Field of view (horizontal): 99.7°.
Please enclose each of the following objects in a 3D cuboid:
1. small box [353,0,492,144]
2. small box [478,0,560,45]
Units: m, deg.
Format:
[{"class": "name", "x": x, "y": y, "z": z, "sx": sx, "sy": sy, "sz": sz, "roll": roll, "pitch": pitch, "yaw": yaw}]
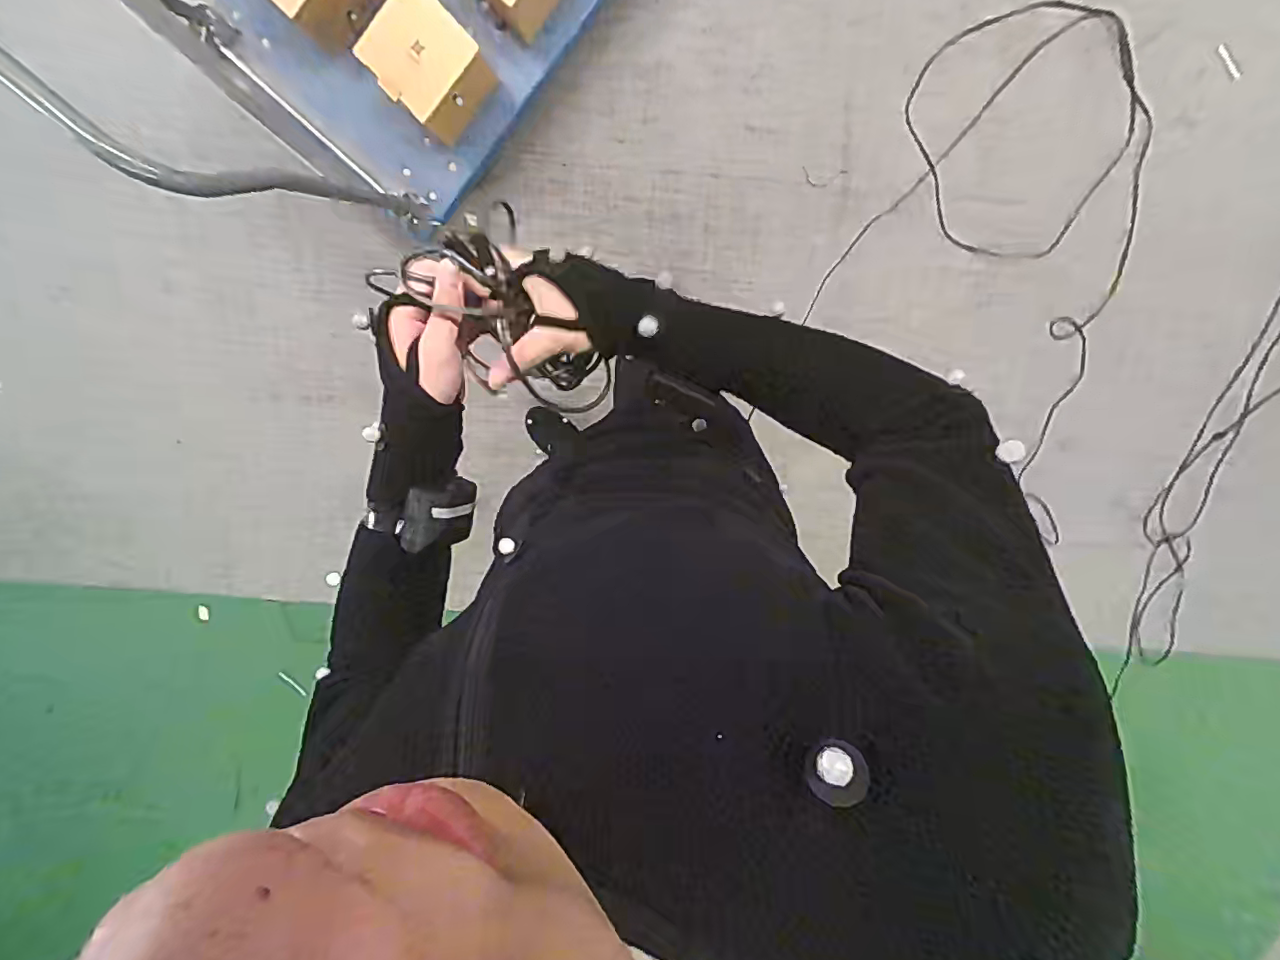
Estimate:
[{"class": "small box", "x": -0.414, "y": -0.811, "z": 1.066, "sx": 0.179, "sy": 0.176, "sz": 0.168, "roll": -43, "pitch": 105, "yaw": 14}, {"class": "small box", "x": -0.238, "y": -0.977, "z": 1.005, "sx": 0.168, "sy": 0.176, "sz": 0.179, "roll": 40, "pitch": 106, "yaw": -12}]
